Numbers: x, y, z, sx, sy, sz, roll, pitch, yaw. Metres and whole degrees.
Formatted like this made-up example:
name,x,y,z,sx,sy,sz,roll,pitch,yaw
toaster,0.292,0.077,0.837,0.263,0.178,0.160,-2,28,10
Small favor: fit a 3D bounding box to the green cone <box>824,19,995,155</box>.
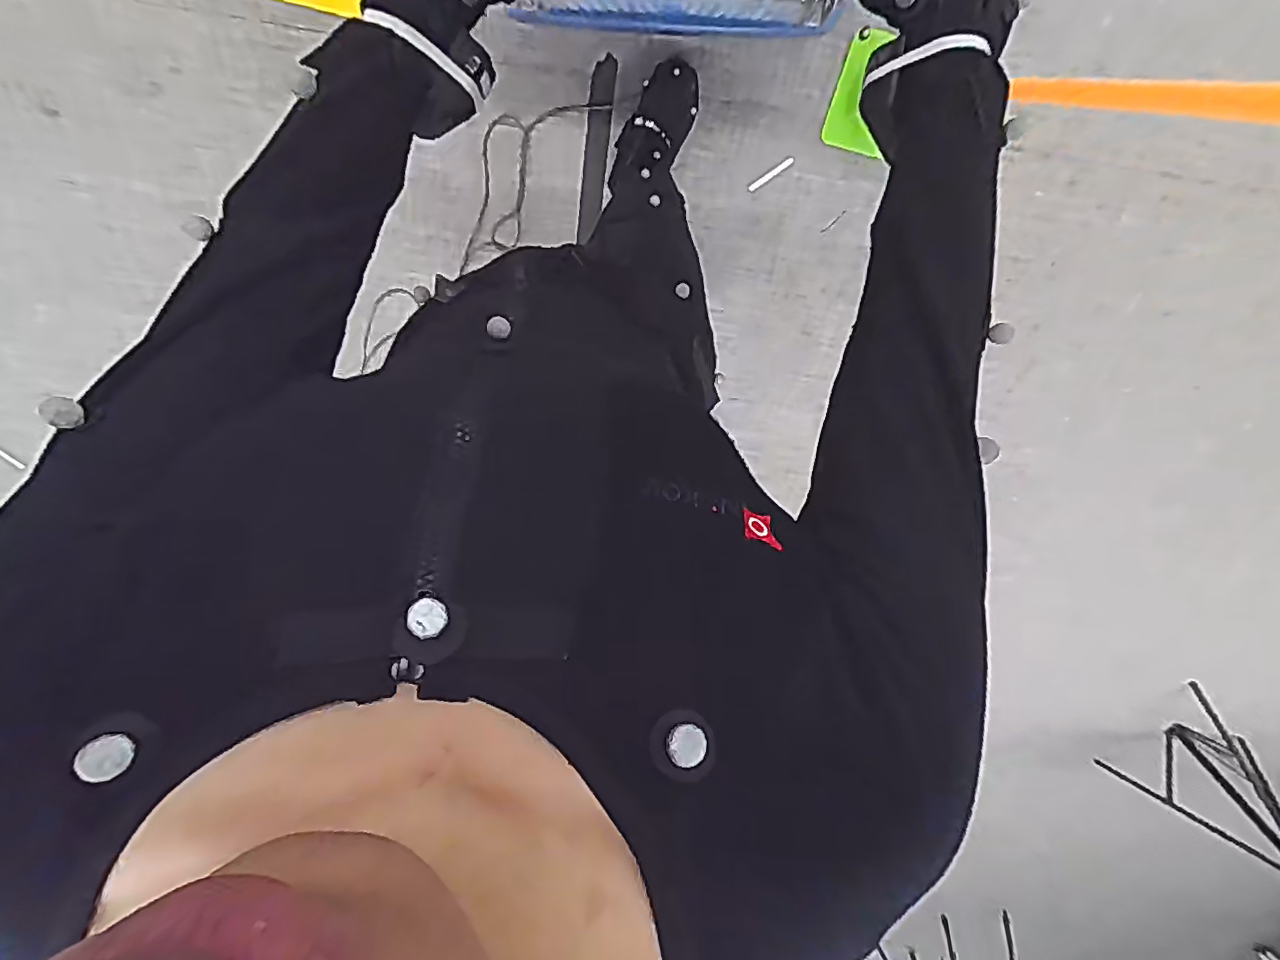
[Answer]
name,x,y,z,sx,sy,sz,roll,pitch,yaw
green cone,0.509,-0.706,0.972,0.202,0.368,0.200,9,123,-9
